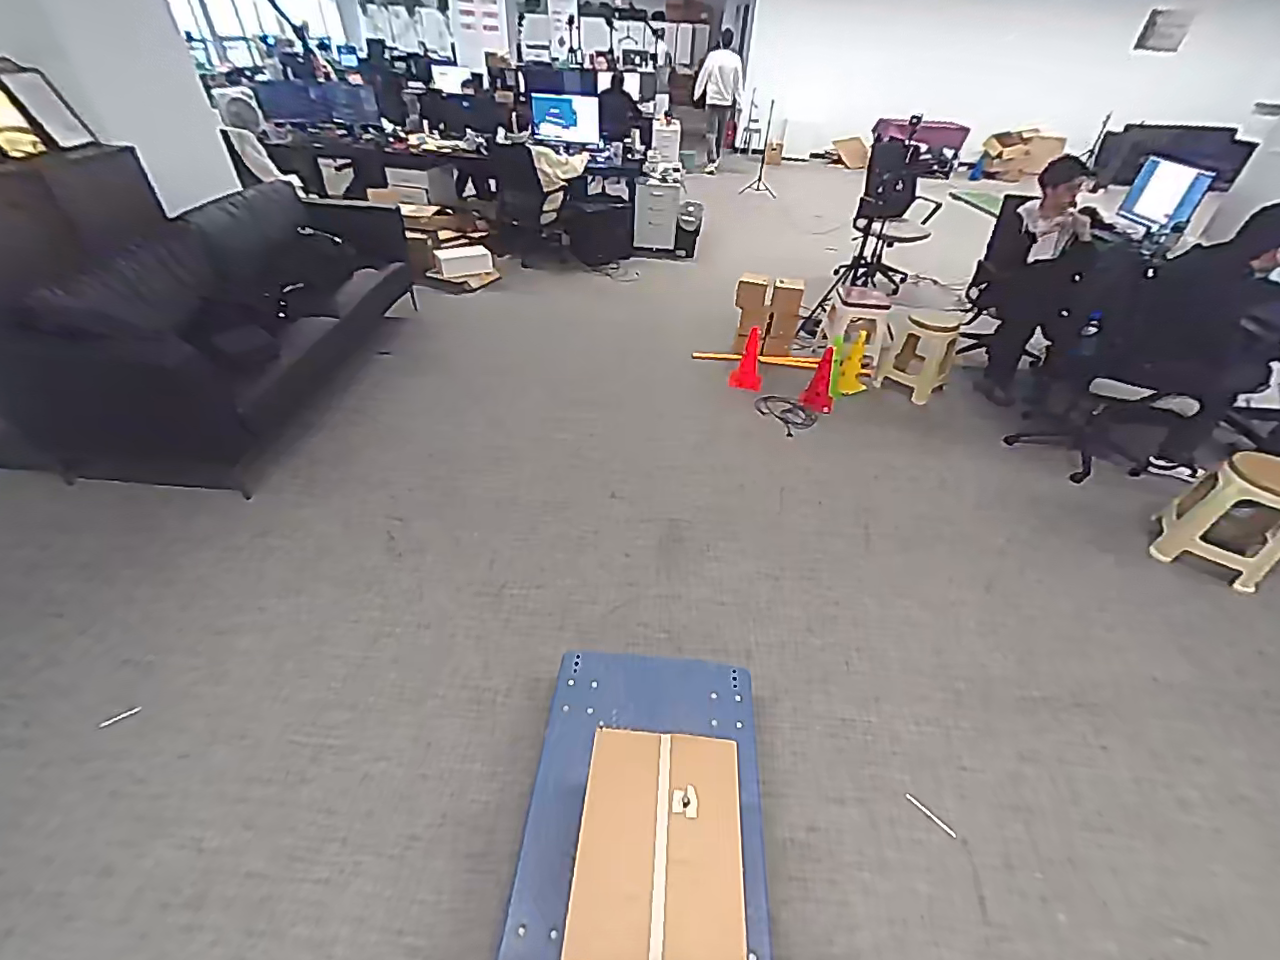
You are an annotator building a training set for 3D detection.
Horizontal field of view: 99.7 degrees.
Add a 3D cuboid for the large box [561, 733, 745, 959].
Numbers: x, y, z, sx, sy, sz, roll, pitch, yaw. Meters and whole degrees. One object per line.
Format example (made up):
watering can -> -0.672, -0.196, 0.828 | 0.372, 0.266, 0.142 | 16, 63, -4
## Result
large box -> 0.027, 0.811, 1.130 | 0.320, 0.320, 0.408 | 5, 38, 2
